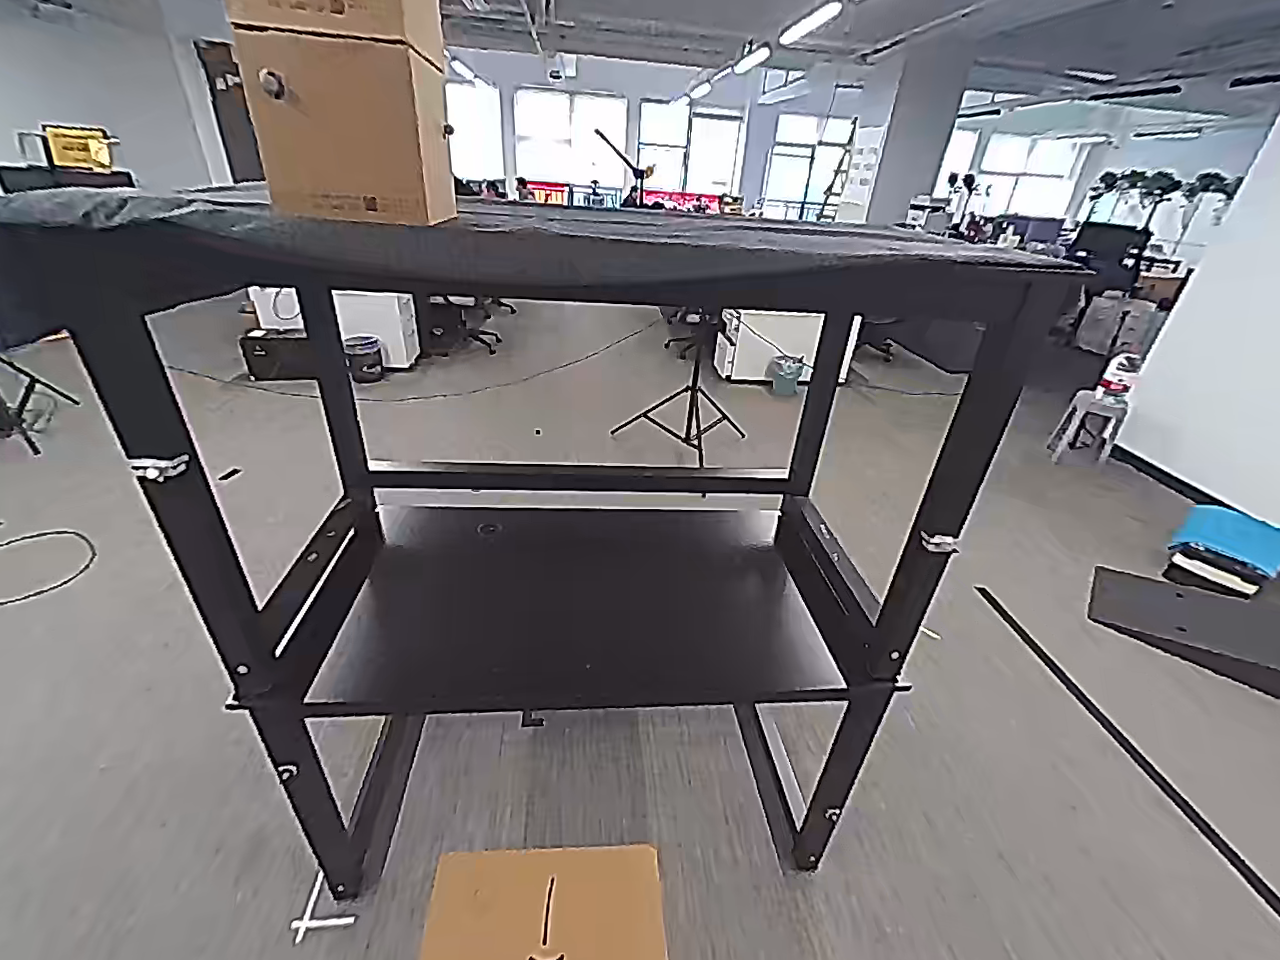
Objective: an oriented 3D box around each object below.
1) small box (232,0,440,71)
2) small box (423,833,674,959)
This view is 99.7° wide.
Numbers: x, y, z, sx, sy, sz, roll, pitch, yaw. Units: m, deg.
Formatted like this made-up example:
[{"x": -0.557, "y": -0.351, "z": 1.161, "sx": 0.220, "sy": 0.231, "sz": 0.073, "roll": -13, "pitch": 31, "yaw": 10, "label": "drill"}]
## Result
[{"x": -0.314, "y": -0.542, "z": 0.559, "sx": 0.168, "sy": 0.176, "sz": 0.179, "roll": 1, "pitch": 28, "yaw": -7, "label": "small box"}, {"x": -0.064, "y": 0.388, "z": 0.380, "sx": 0.168, "sy": 0.176, "sz": 0.179, "roll": 3, "pitch": 27, "yaw": -7, "label": "small box"}]
